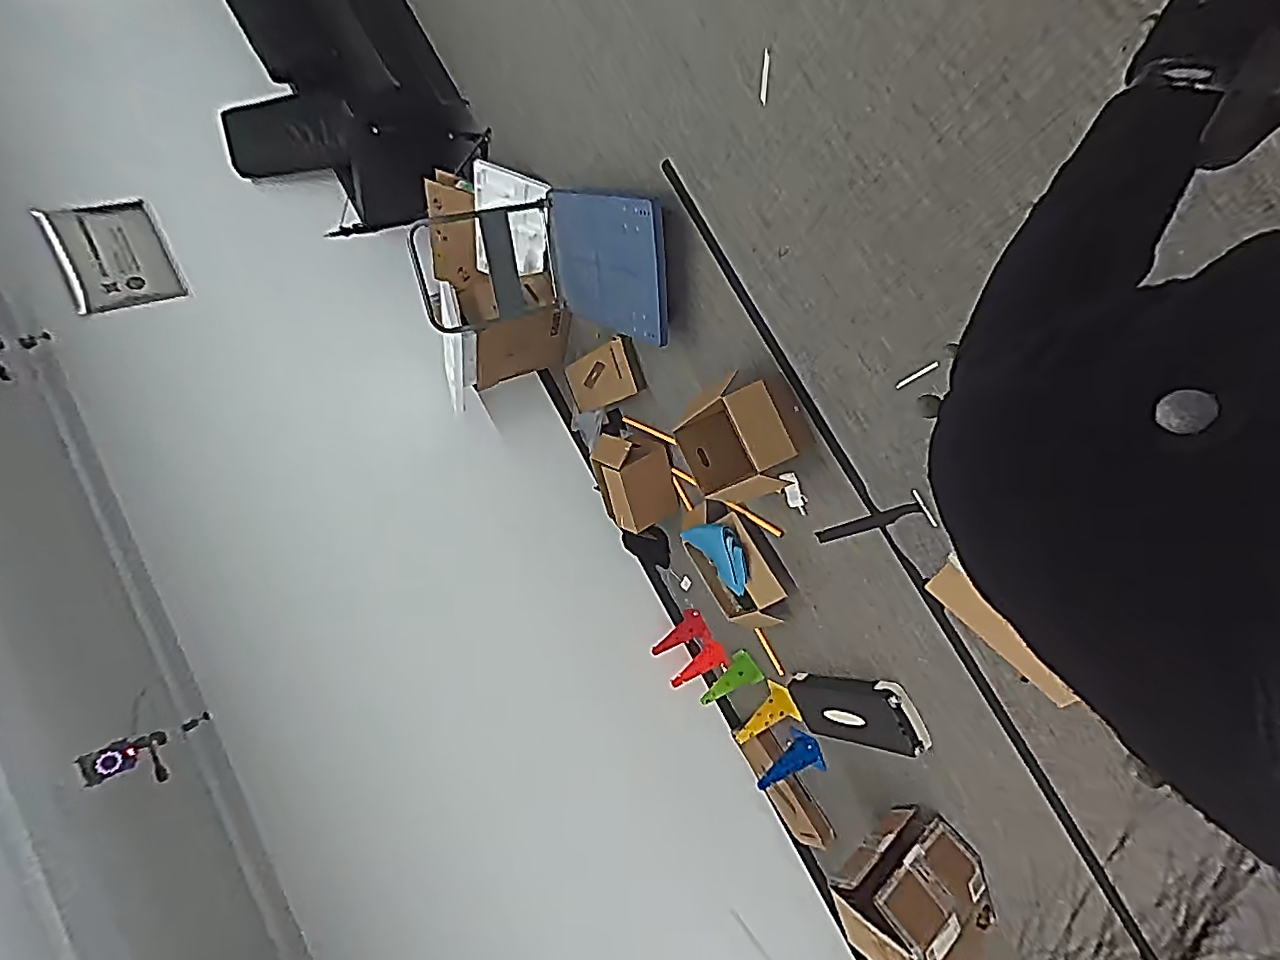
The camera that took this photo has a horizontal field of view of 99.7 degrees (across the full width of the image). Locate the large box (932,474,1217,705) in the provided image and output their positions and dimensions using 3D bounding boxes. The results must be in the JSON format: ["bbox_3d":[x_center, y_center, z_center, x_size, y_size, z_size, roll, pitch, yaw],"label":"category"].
[{"bbox_3d":[1.052,0.258,1.351,0.408,0.320,0.320,47,149,29],"label":"large box"}]
